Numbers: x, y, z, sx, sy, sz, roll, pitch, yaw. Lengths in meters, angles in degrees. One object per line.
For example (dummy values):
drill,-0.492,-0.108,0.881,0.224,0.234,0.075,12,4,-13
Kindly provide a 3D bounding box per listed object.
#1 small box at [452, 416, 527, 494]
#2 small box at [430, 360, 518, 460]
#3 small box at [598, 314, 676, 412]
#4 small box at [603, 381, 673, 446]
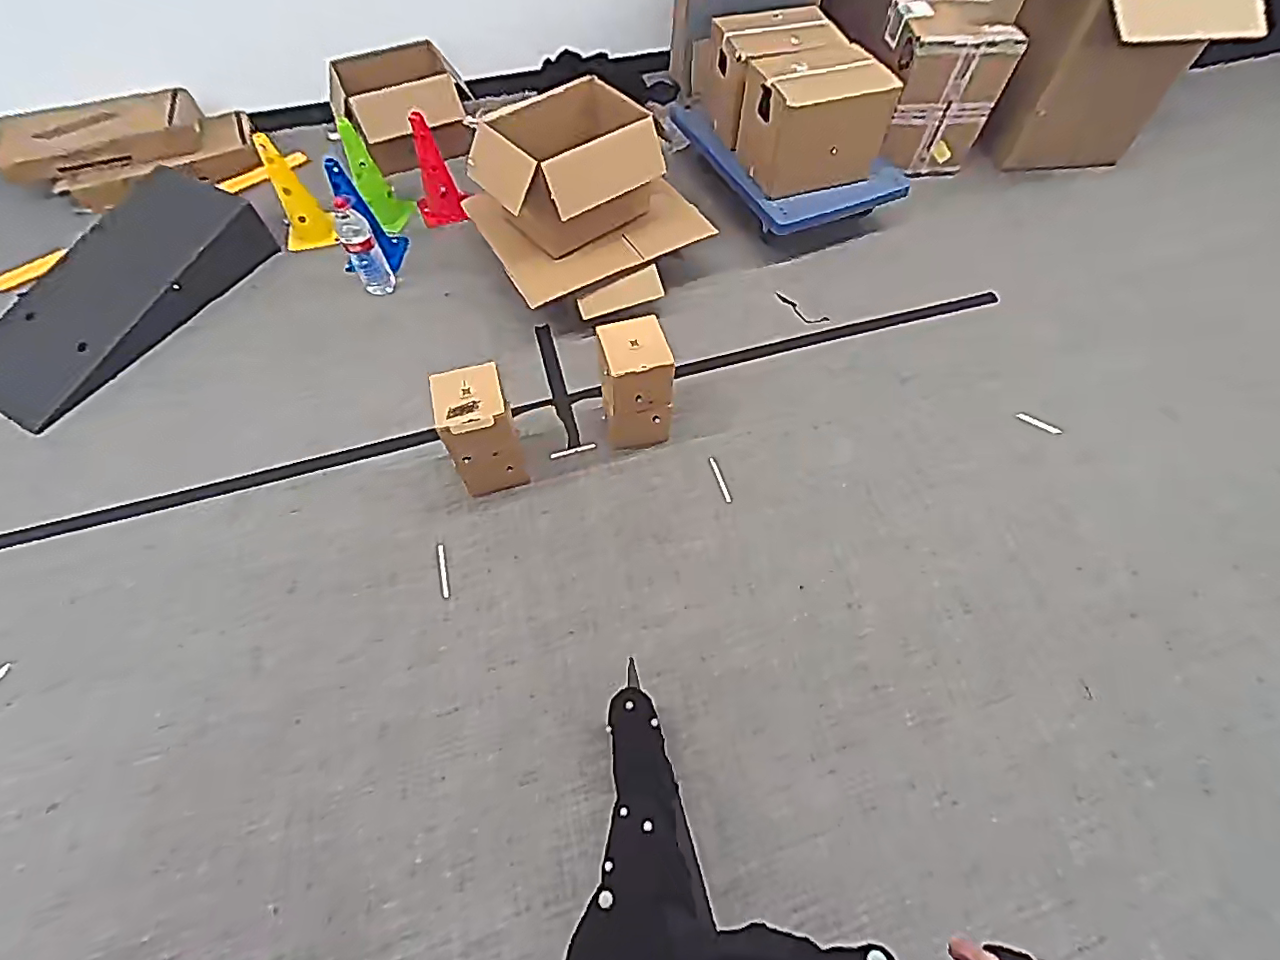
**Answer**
small box,-0.421,-0.086,1.508,0.179,0.176,0.168,-17,61,-9
small box,-0.415,-0.168,1.366,0.168,0.176,0.179,-14,60,-8
small box,-0.014,-0.310,1.449,0.168,0.176,0.179,-14,62,-9
small box,-0.012,-0.219,1.584,0.179,0.176,0.168,-10,61,-7
